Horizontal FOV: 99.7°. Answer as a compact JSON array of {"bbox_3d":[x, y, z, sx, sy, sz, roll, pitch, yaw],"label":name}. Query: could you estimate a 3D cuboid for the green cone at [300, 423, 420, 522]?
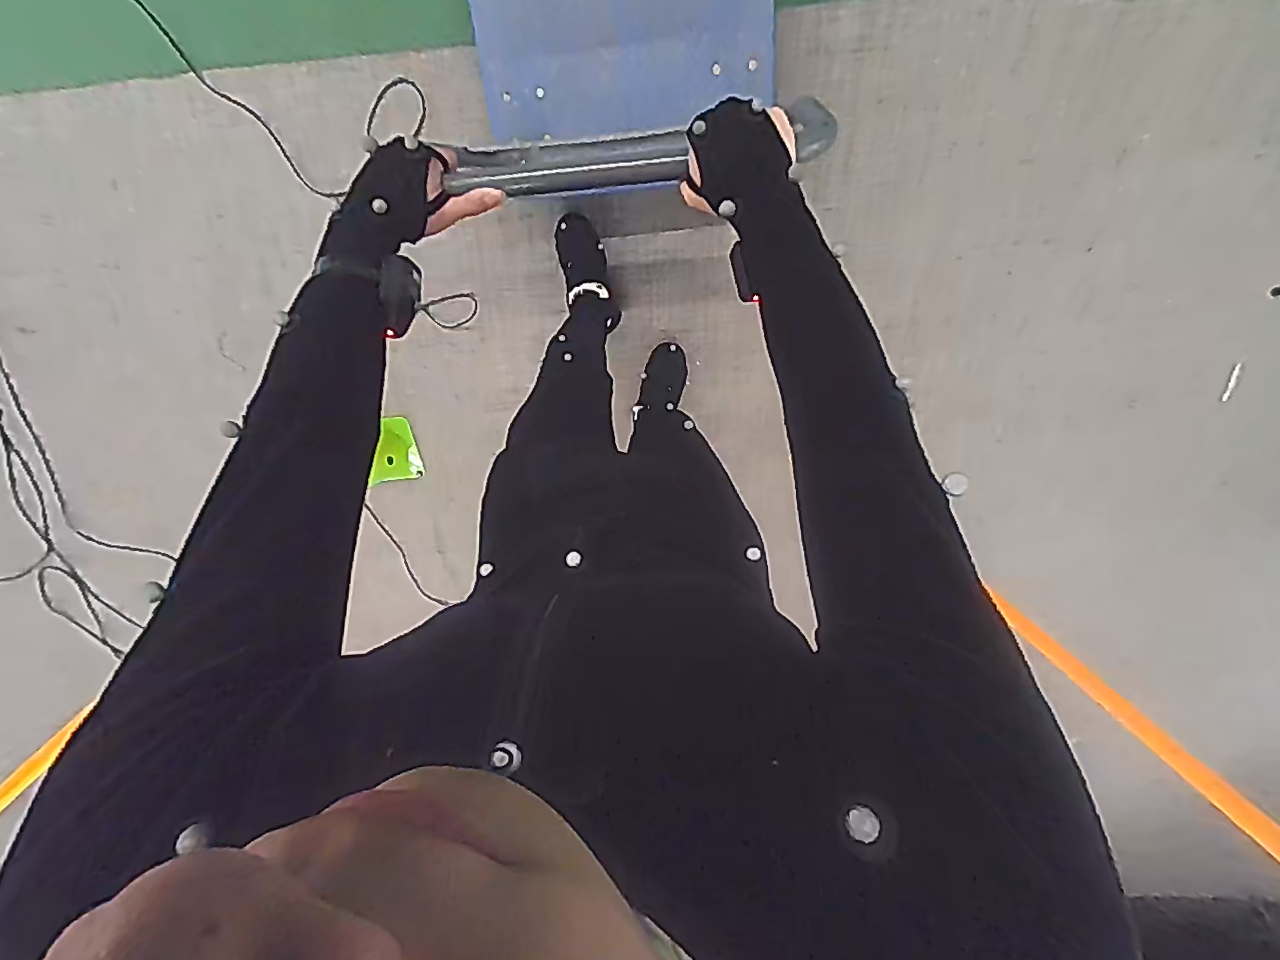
[{"bbox_3d":[-0.790,0.004,1.471,0.202,0.368,0.200,-6,115,7],"label":"green cone"}]
